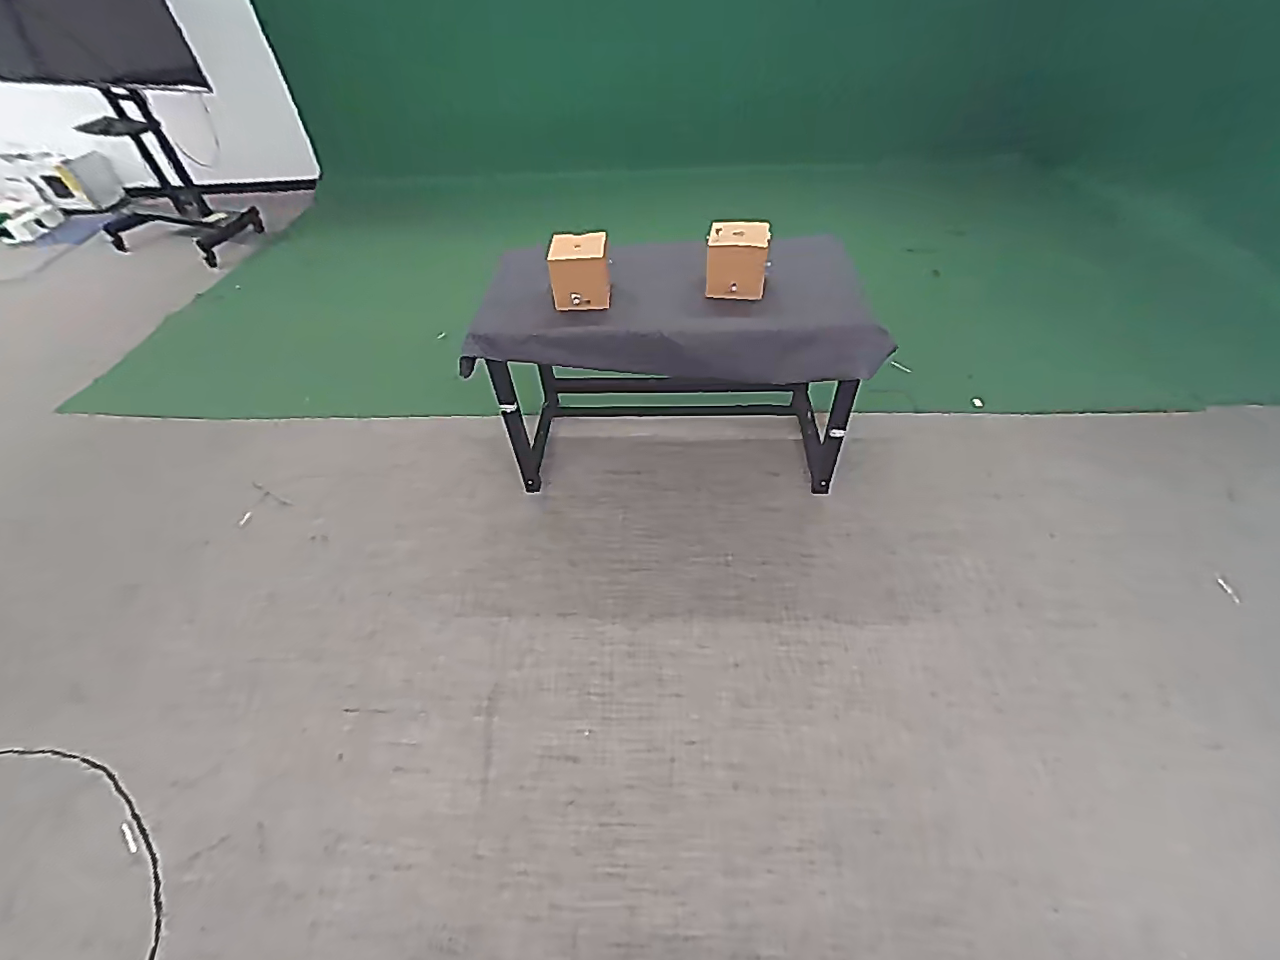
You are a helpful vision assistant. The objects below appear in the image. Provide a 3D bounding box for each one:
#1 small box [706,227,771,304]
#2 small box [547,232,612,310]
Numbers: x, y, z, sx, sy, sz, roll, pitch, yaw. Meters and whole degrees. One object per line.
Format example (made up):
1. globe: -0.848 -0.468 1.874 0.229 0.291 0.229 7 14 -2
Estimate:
1. small box: 0.303 -0.662 1.675 0.179 0.176 0.168 7 48 10
2. small box: -0.180 -0.644 1.667 0.168 0.176 0.179 -2 47 5
